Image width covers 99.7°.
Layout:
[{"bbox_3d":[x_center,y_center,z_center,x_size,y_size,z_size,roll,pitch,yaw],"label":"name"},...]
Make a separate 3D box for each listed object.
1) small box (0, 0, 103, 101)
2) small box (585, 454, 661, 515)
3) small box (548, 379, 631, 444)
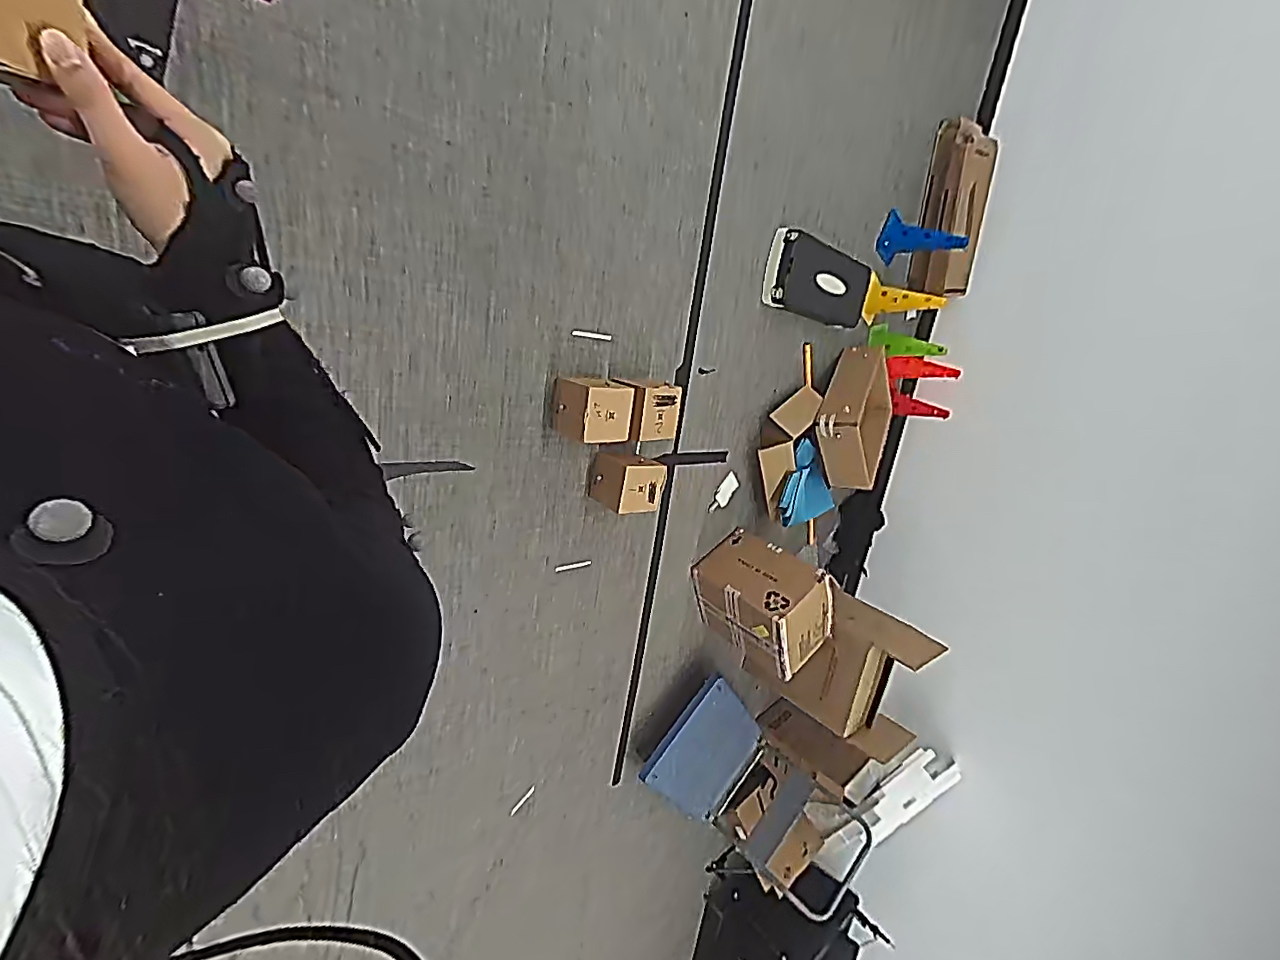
[{"bbox_3d":[-0.374,-0.301,0.241,0.168,0.176,0.179,-10,122,-47],"label":"small box"},{"bbox_3d":[-0.060,0.009,1.845,0.179,0.176,0.168,-2,109,-43],"label":"small box"},{"bbox_3d":[-0.156,-0.212,1.652,0.179,0.176,0.168,-7,112,-42],"label":"small box"}]
